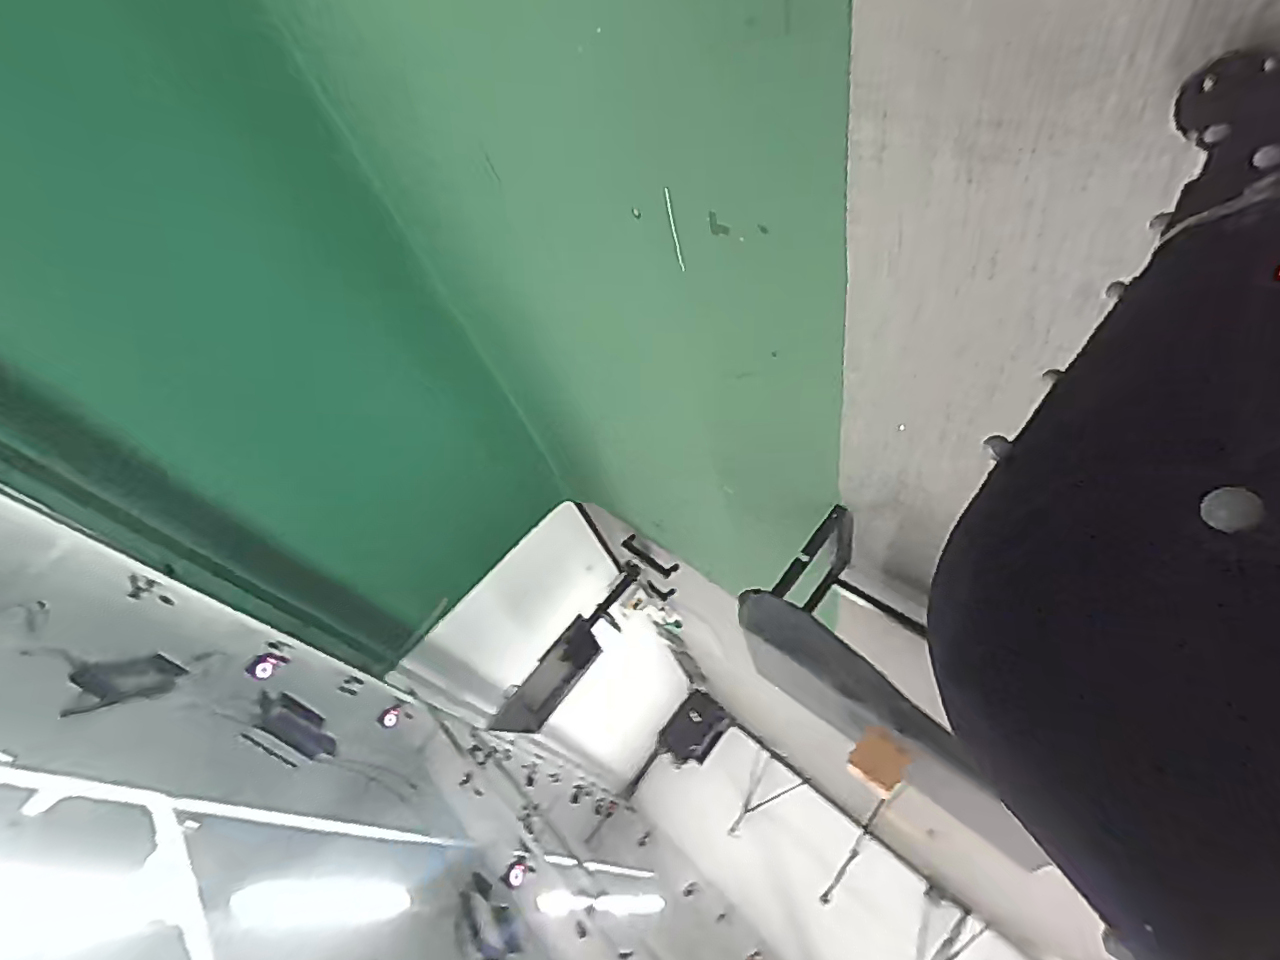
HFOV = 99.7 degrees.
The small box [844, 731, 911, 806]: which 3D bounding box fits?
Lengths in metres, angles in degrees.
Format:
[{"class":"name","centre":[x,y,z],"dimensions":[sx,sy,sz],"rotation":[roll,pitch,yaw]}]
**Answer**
[{"class":"small box","centre":[0.866,1.048,1.973],"dimensions":[0.168,0.176,0.179],"rotation":[31,159,34]}]
